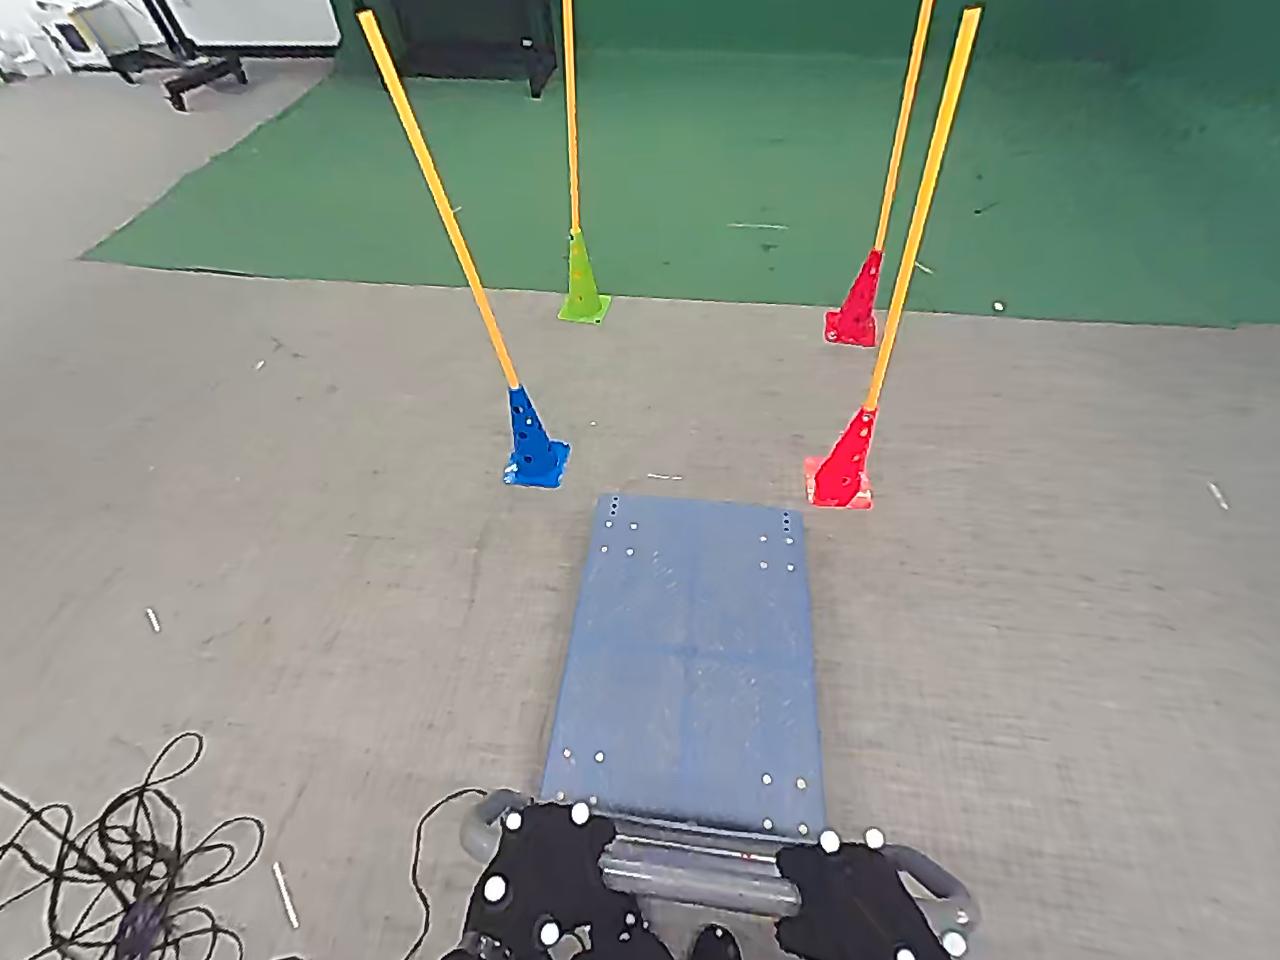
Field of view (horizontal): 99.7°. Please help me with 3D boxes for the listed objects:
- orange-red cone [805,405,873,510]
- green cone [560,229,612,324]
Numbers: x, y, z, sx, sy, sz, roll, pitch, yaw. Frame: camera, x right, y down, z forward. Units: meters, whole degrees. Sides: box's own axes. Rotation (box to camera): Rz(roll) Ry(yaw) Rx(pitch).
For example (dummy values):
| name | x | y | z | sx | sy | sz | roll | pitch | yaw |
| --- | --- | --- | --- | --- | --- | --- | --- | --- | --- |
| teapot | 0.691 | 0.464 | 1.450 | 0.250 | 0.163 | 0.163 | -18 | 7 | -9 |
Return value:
| name | x | y | z | sx | sy | sz | roll | pitch | yaw |
| --- | --- | --- | --- | --- | --- | --- | --- | --- | --- |
| orange-red cone | 0.642 | -0.090 | 1.656 | 0.199 | 0.360 | 0.198 | 4 | 53 | 7 |
| green cone | -0.243 | -0.864 | 2.257 | 0.202 | 0.368 | 0.200 | 8 | 53 | 9 |
